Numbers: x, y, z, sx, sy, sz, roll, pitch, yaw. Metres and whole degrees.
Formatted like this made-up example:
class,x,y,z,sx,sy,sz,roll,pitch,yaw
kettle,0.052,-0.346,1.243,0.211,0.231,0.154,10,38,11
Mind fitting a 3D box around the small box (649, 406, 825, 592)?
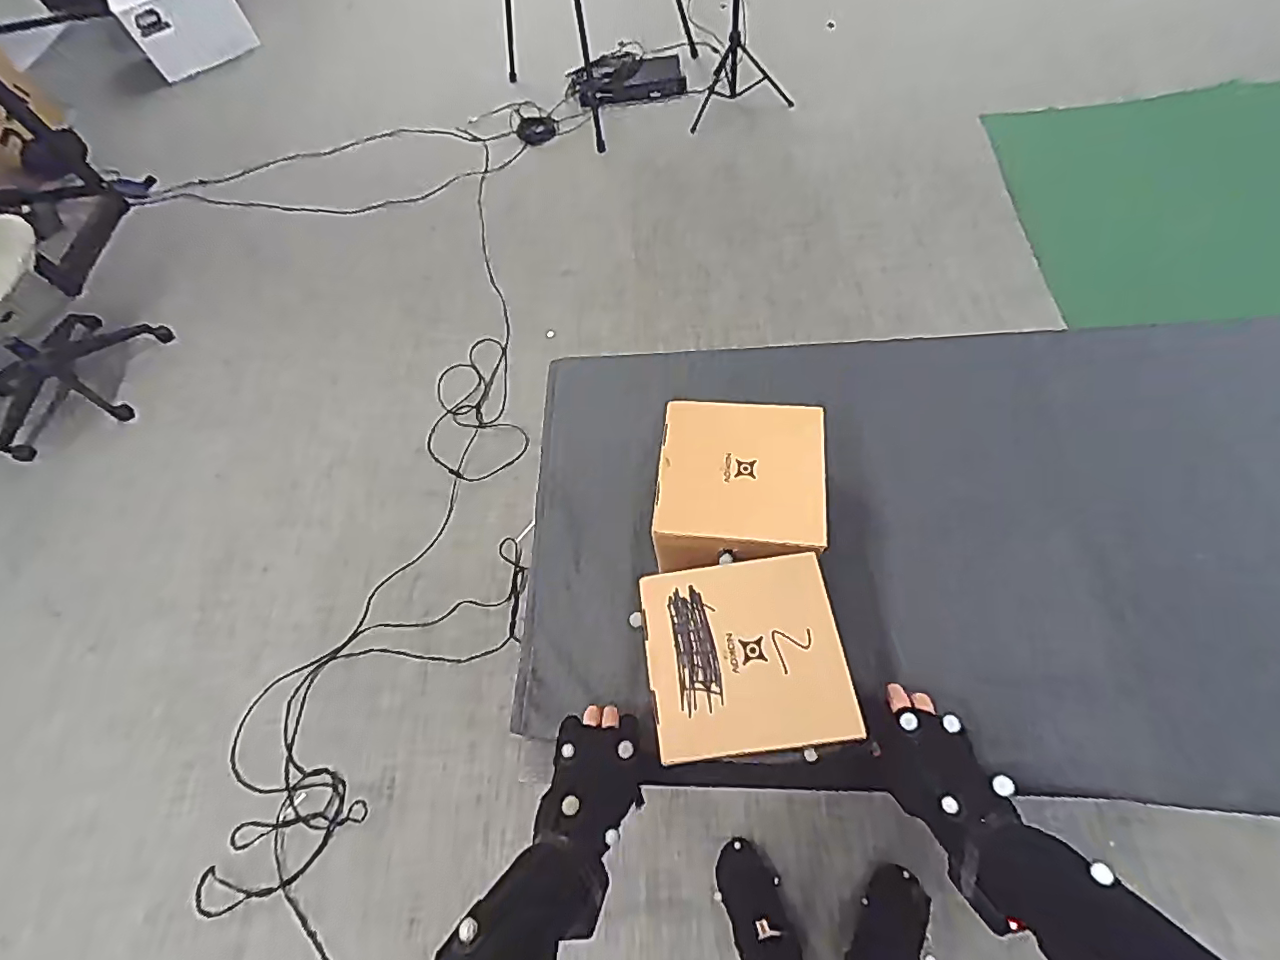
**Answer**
class,x,y,z,sx,sy,sz,roll,pitch,yaw
small box,0.113,0.029,0.643,0.179,0.176,0.168,3,63,10
